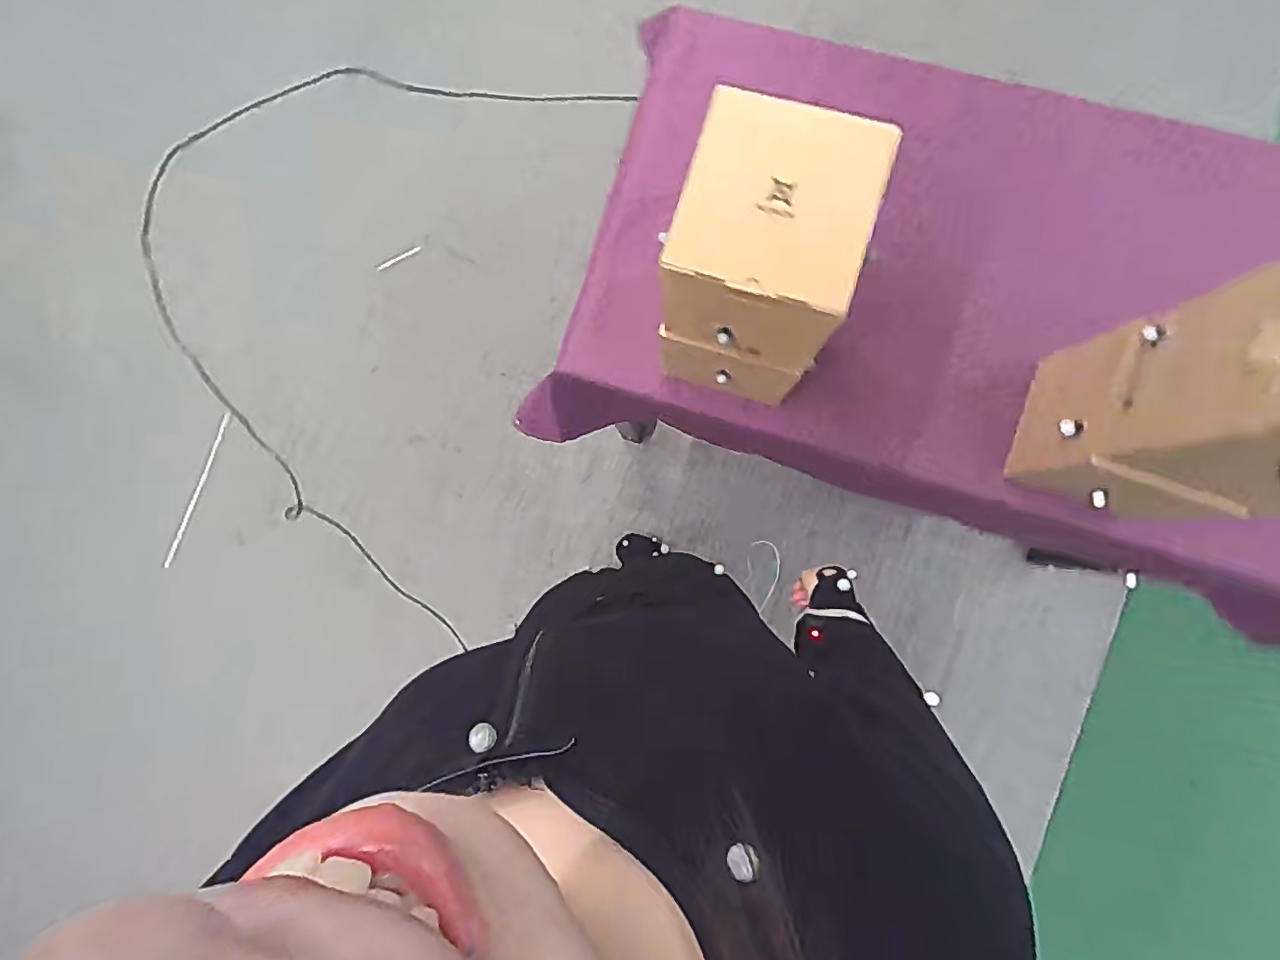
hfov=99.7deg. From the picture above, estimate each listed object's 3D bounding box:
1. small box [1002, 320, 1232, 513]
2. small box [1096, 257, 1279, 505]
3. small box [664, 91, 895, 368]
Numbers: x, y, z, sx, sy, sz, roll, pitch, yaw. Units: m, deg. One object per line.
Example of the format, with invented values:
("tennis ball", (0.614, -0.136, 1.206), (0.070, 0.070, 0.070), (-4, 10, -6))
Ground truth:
("small box", (0.597, -0.065, 0.675), (0.168, 0.176, 0.179), (20, 87, 4))
("small box", (0.595, -0.078, 0.511), (0.179, 0.176, 0.168), (21, 87, 4))
("small box", (0.126, -0.237, 0.553), (0.168, 0.176, 0.179), (17, 87, 5))
